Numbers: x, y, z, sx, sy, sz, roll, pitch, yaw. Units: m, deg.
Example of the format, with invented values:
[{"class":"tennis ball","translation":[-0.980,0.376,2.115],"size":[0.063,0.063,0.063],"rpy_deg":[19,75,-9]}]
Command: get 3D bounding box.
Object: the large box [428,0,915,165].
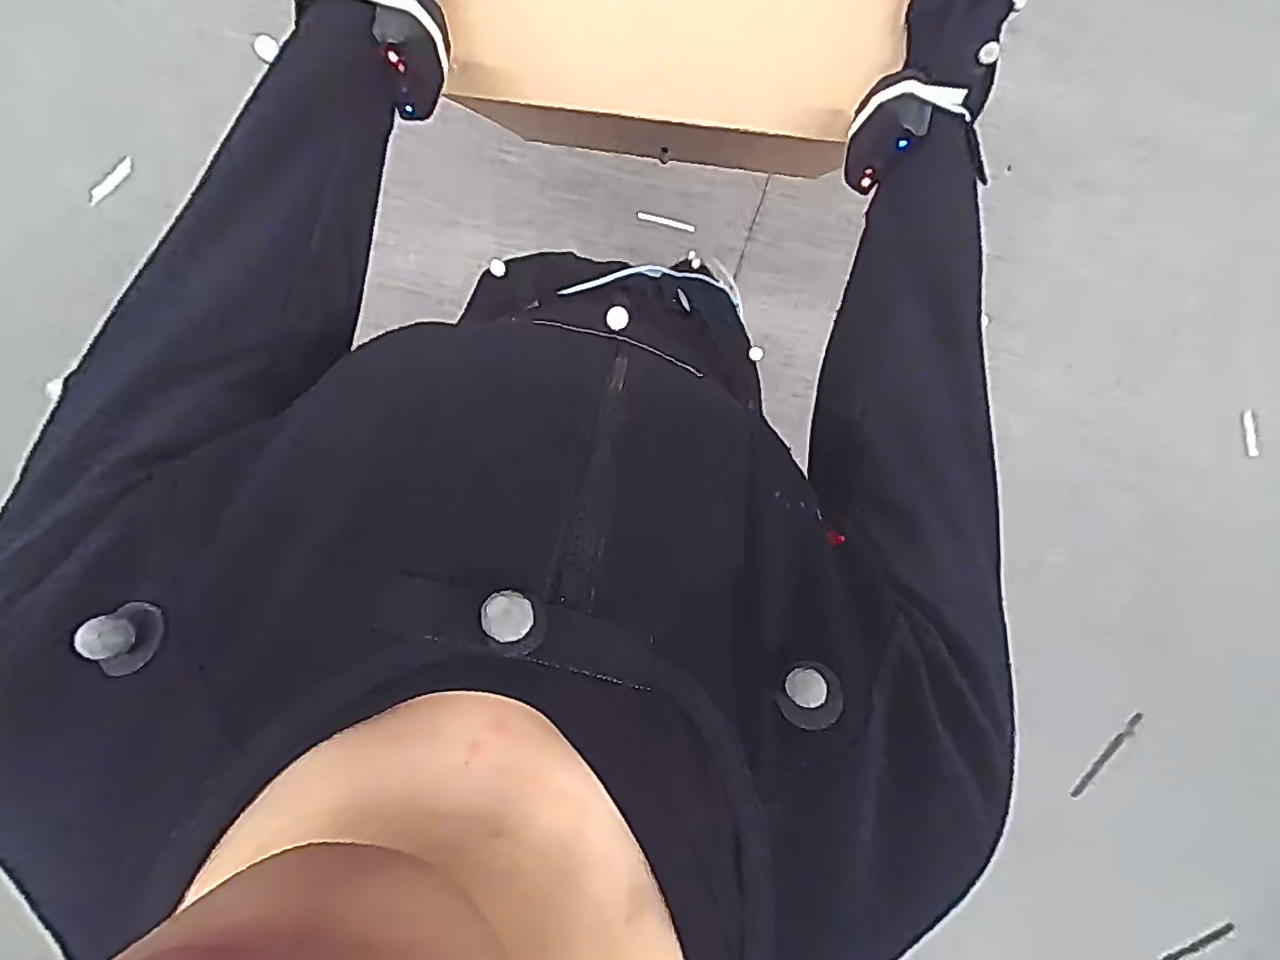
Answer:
[{"class":"large box","translation":[0.043,-0.521,0.540],"size":[0.408,0.320,0.320],"rpy_deg":[9,115,2]}]
